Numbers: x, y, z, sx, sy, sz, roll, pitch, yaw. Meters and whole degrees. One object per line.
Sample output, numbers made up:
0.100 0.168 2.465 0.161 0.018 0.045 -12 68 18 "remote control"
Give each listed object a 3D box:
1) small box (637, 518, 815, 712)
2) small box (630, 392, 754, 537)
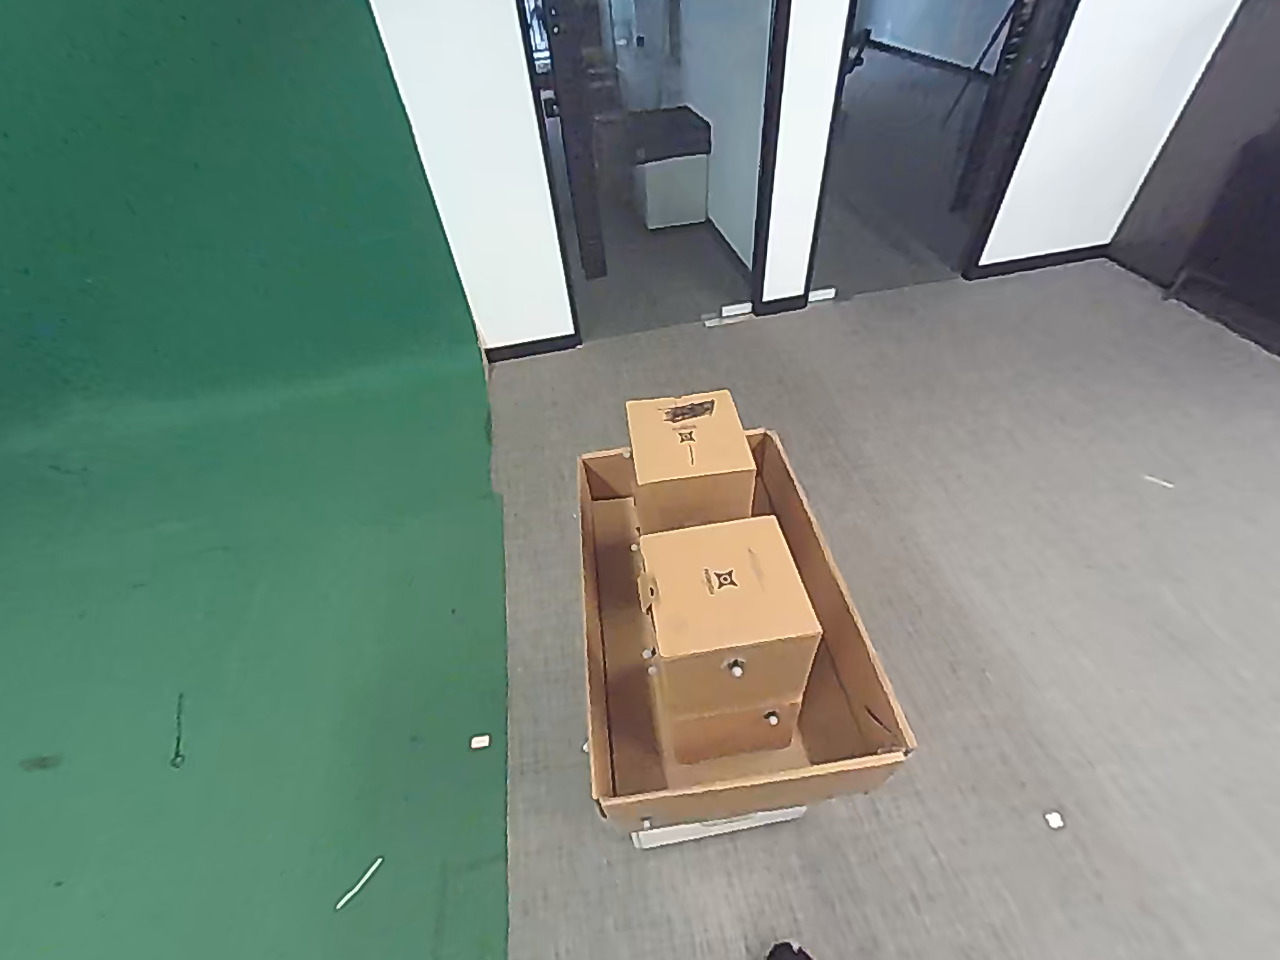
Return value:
0.098 0.172 0.680 0.179 0.176 0.168 -8 47 -3 "small box"
0.073 -0.014 0.852 0.168 0.176 0.179 -6 49 -1 "small box"
